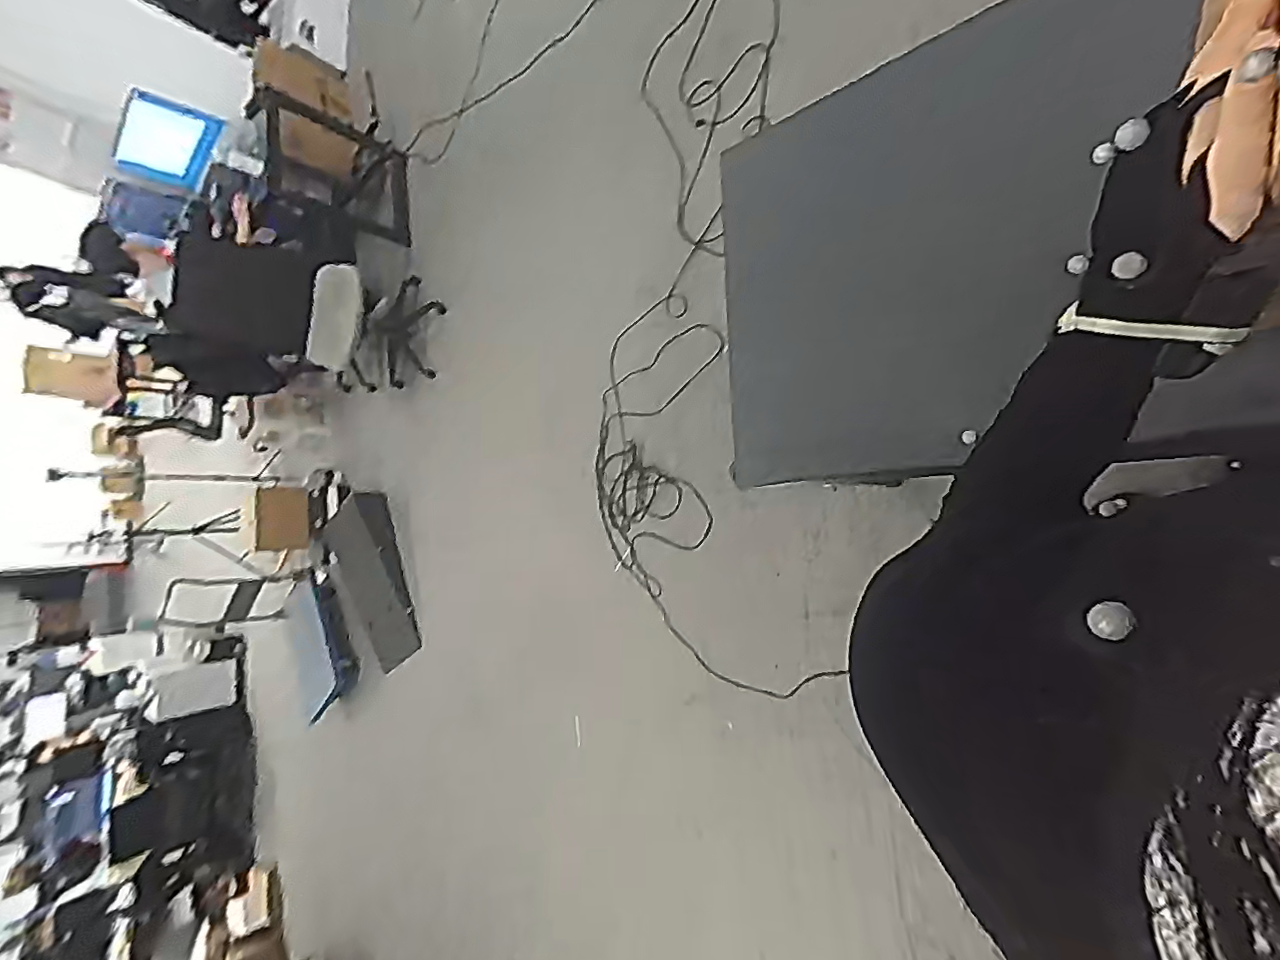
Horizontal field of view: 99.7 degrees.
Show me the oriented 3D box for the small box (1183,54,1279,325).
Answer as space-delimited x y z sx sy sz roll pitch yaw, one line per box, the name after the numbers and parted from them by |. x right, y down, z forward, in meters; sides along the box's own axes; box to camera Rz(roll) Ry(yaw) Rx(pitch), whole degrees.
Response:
0.593 -0.254 0.461 0.168 0.176 0.179 -6 85 41 | small box
